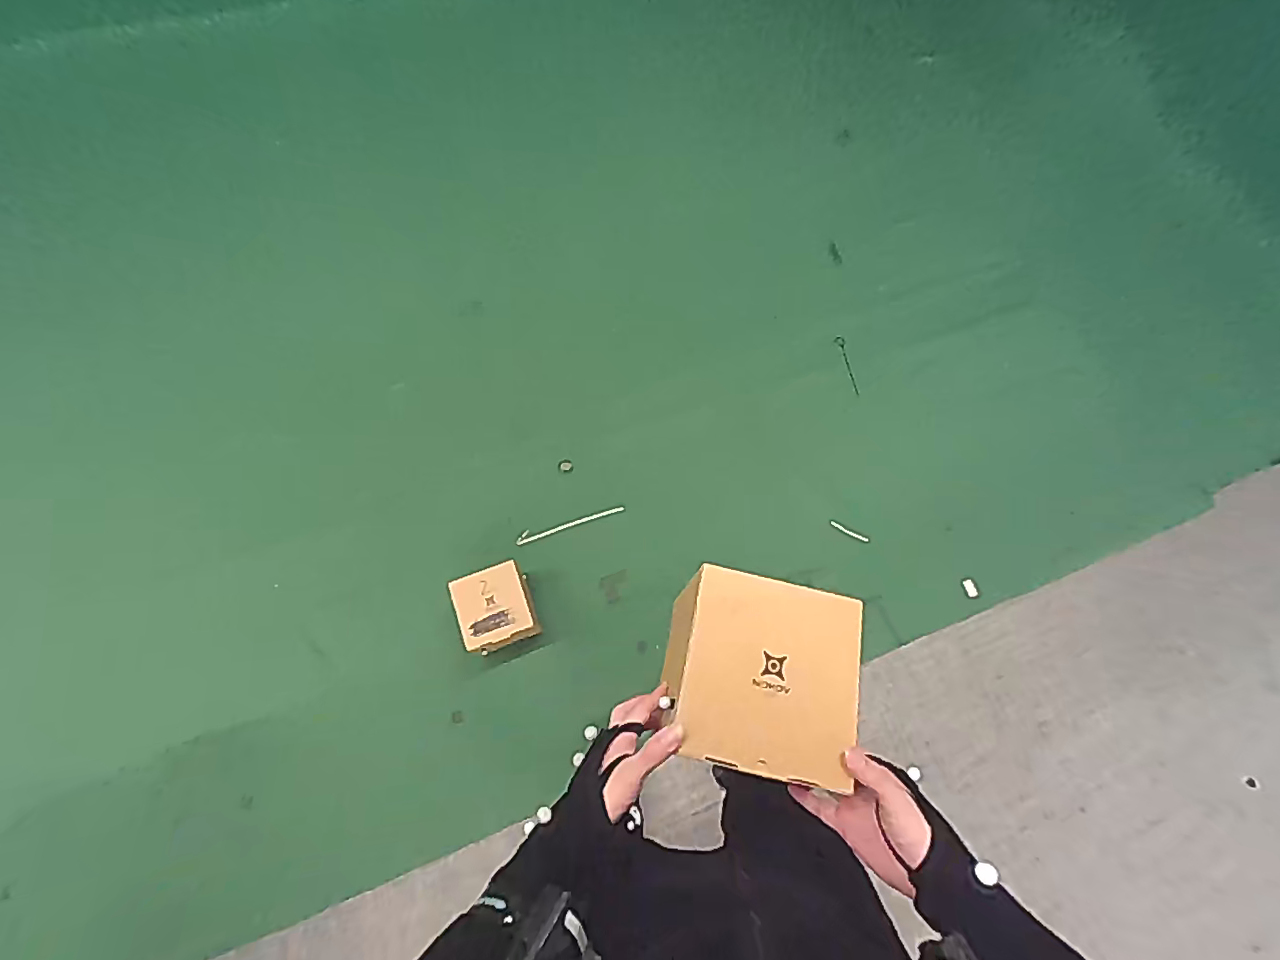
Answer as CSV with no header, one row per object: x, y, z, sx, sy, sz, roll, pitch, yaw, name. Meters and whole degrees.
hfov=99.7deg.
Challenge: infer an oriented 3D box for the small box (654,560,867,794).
0.117,0.204,0.573,0.168,0.176,0.179,15,68,-2,small box
